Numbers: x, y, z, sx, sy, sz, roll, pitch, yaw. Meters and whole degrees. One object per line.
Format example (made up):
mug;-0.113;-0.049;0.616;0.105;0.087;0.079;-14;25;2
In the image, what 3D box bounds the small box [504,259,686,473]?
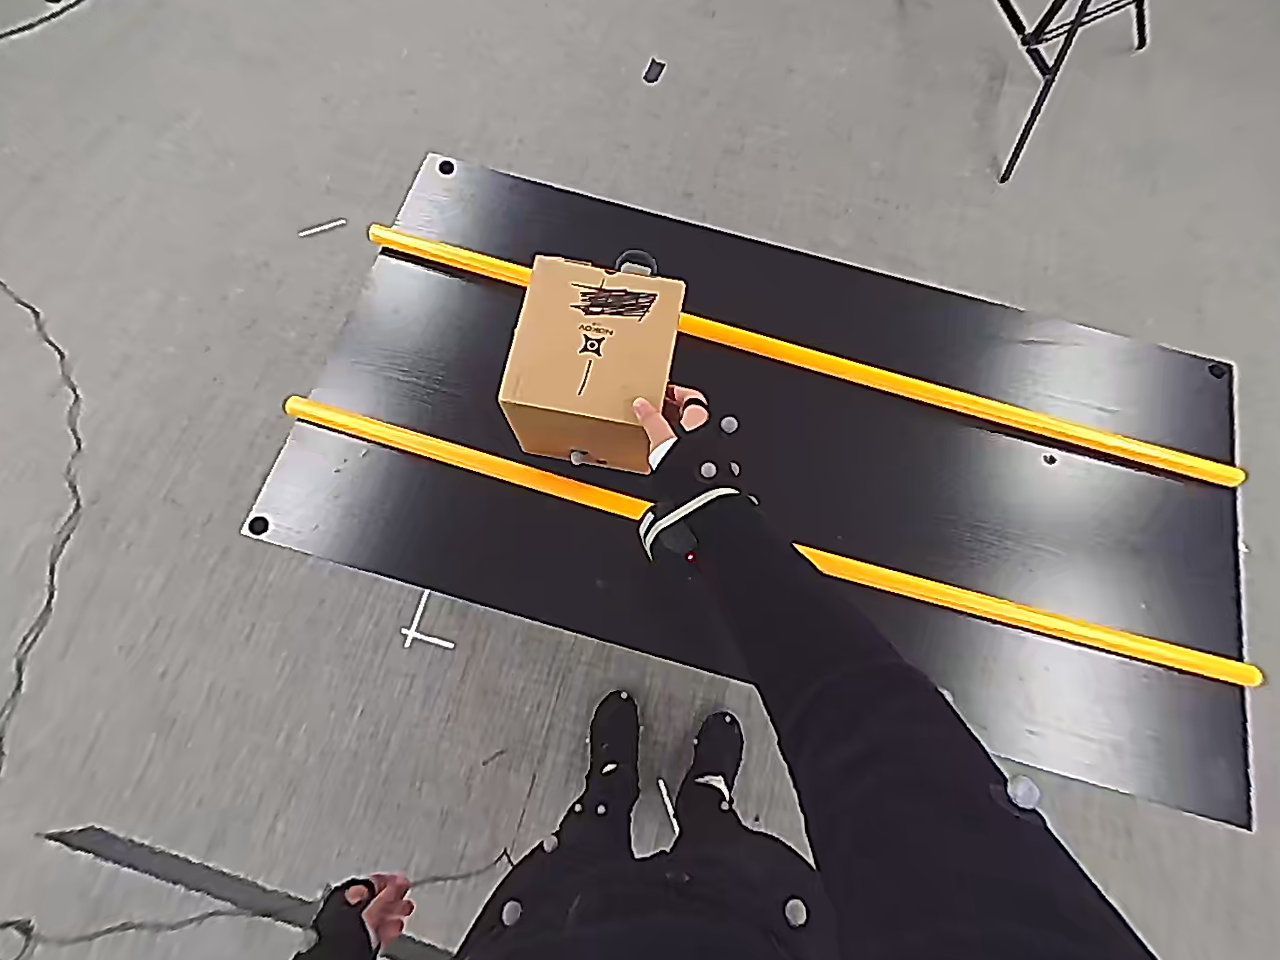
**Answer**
small box;-0.048;-0.125;0.646;0.168;0.176;0.179;10;75;1
